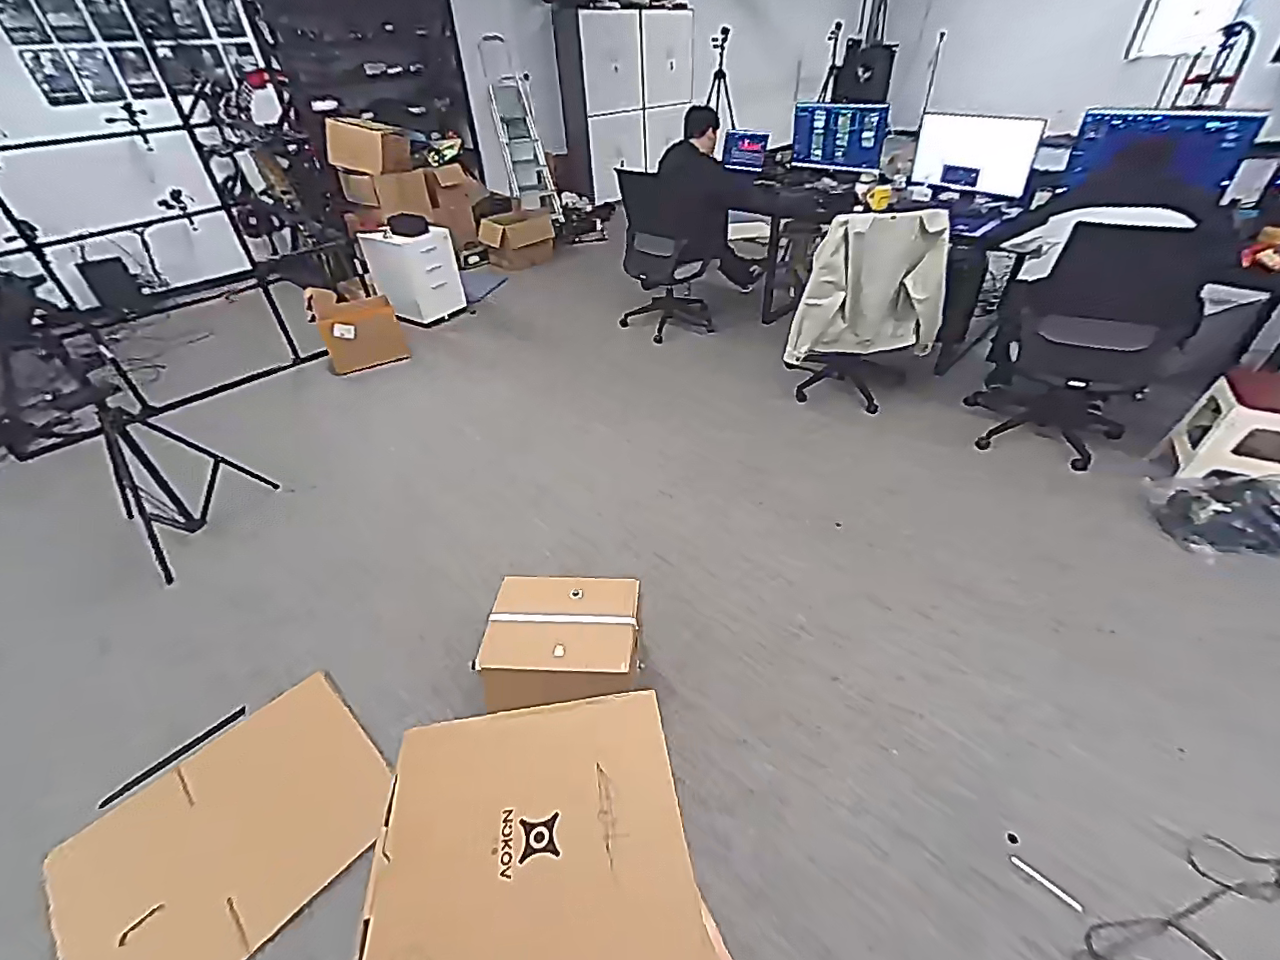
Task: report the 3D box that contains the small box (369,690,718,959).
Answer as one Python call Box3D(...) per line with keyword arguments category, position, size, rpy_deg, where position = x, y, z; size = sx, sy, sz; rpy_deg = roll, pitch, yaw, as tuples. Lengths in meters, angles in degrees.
Box3D(category="small box", position=(-0.056, 0.272, 0.358), size=(0.179, 0.176, 0.168), rpy_deg=(-7, 36, -8))
